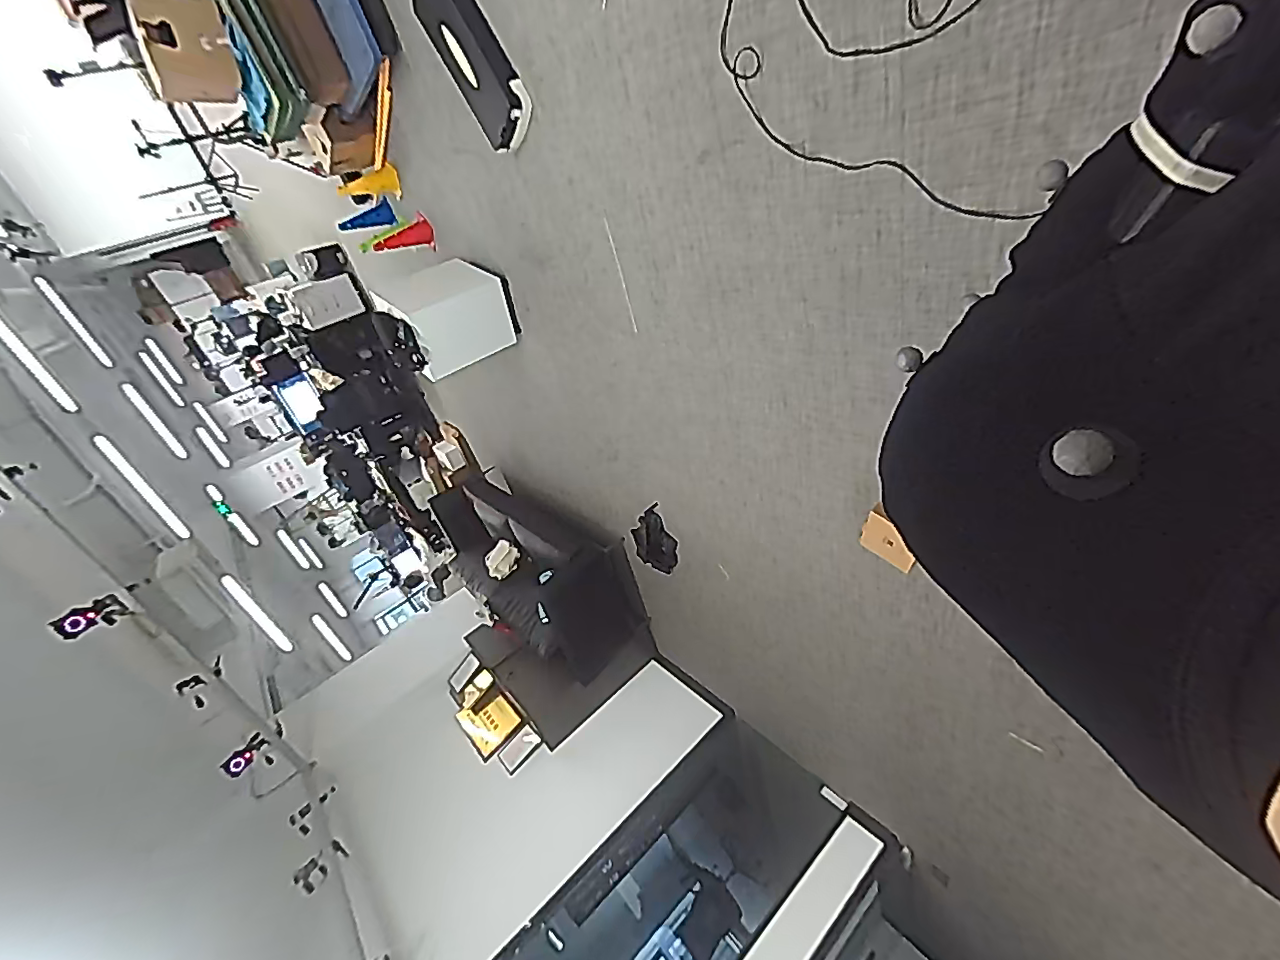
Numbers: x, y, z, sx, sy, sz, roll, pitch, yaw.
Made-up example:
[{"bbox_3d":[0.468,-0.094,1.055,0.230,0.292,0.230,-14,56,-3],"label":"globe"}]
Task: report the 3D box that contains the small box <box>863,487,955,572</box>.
[{"bbox_3d":[0.838,0.145,1.689,0.179,0.176,0.168,36,149,33],"label":"small box"}]
